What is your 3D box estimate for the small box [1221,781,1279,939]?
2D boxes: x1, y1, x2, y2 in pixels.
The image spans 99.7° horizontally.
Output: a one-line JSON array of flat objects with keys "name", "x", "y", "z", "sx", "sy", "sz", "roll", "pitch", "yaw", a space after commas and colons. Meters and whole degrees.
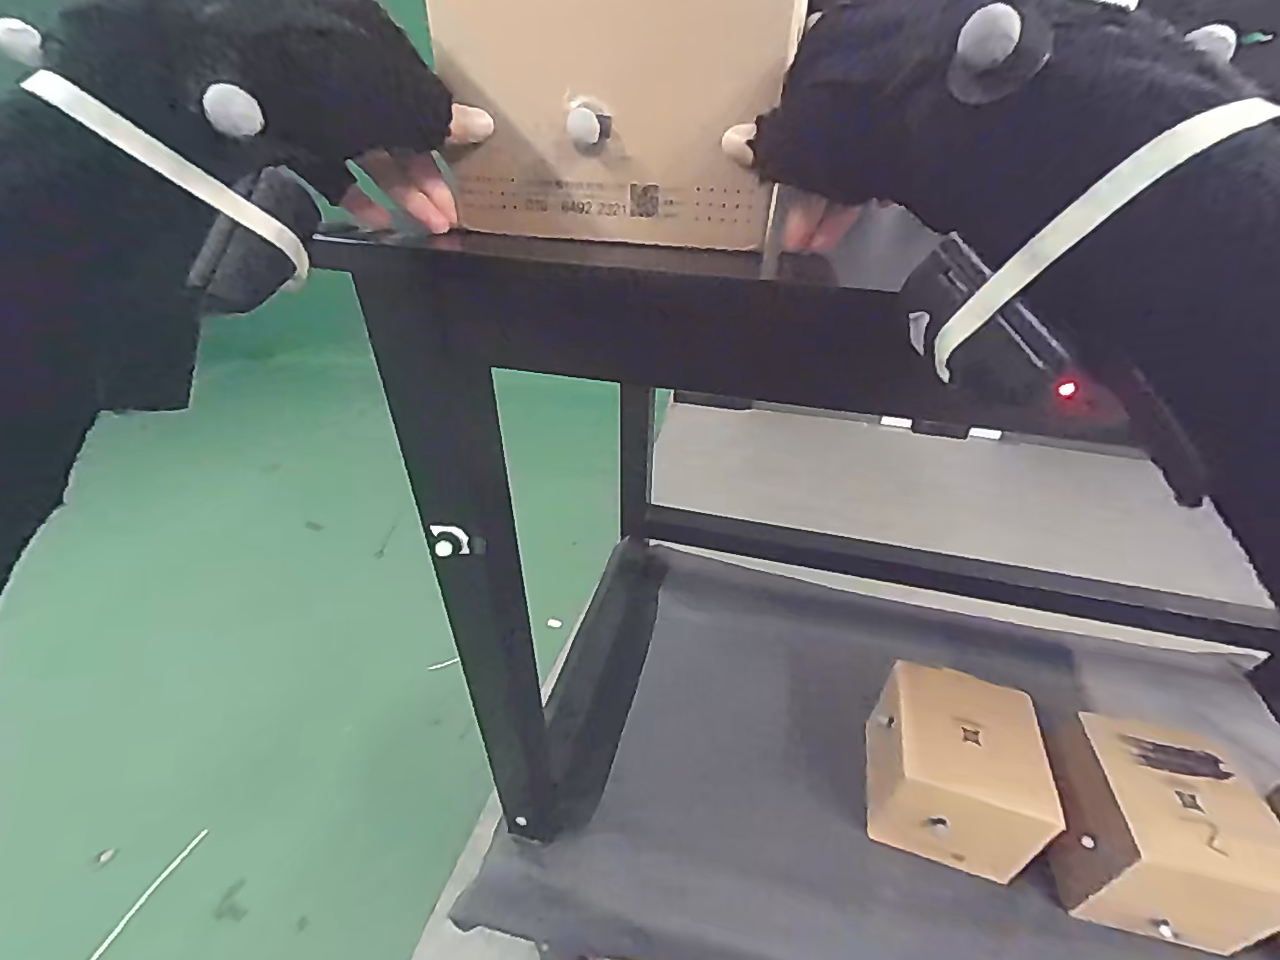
[{"name": "small box", "x": 0.835, "y": 0.465, "z": 0.601, "sx": 0.168, "sy": 0.176, "sz": 0.179, "roll": 8, "pitch": 35, "yaw": 10}]

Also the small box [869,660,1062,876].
[{"name": "small box", "x": 0.412, "y": 0.381, "z": 0.720, "sx": 0.168, "sy": 0.176, "sz": 0.179, "roll": 11, "pitch": 36, "yaw": 15}]

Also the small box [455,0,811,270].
[{"name": "small box", "x": 0.006, "y": -0.232, "z": 0.308, "sx": 0.168, "sy": 0.176, "sz": 0.179, "roll": 8, "pitch": 36, "yaw": 10}]
